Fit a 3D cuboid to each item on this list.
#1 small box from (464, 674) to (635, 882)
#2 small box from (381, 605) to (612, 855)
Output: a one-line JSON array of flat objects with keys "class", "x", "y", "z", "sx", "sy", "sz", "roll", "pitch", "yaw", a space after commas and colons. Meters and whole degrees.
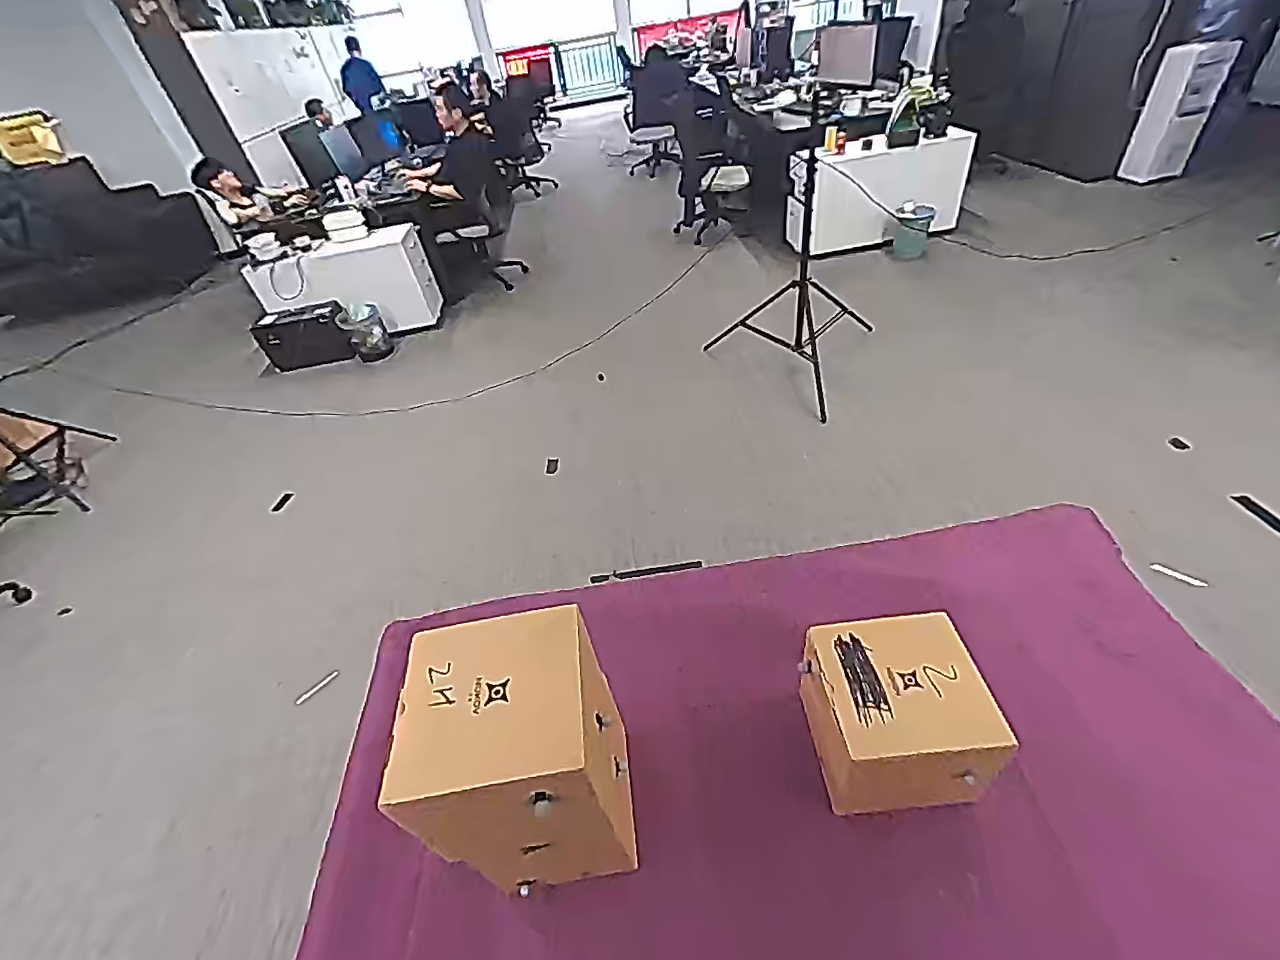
[{"class": "small box", "x": -0.103, "y": 0.372, "z": 0.670, "sx": 0.168, "sy": 0.176, "sz": 0.179, "roll": -10, "pitch": 41, "yaw": 0}, {"class": "small box", "x": -0.127, "y": 0.256, "z": 0.554, "sx": 0.179, "sy": 0.176, "sz": 0.168, "roll": -11, "pitch": 41, "yaw": 0}]
